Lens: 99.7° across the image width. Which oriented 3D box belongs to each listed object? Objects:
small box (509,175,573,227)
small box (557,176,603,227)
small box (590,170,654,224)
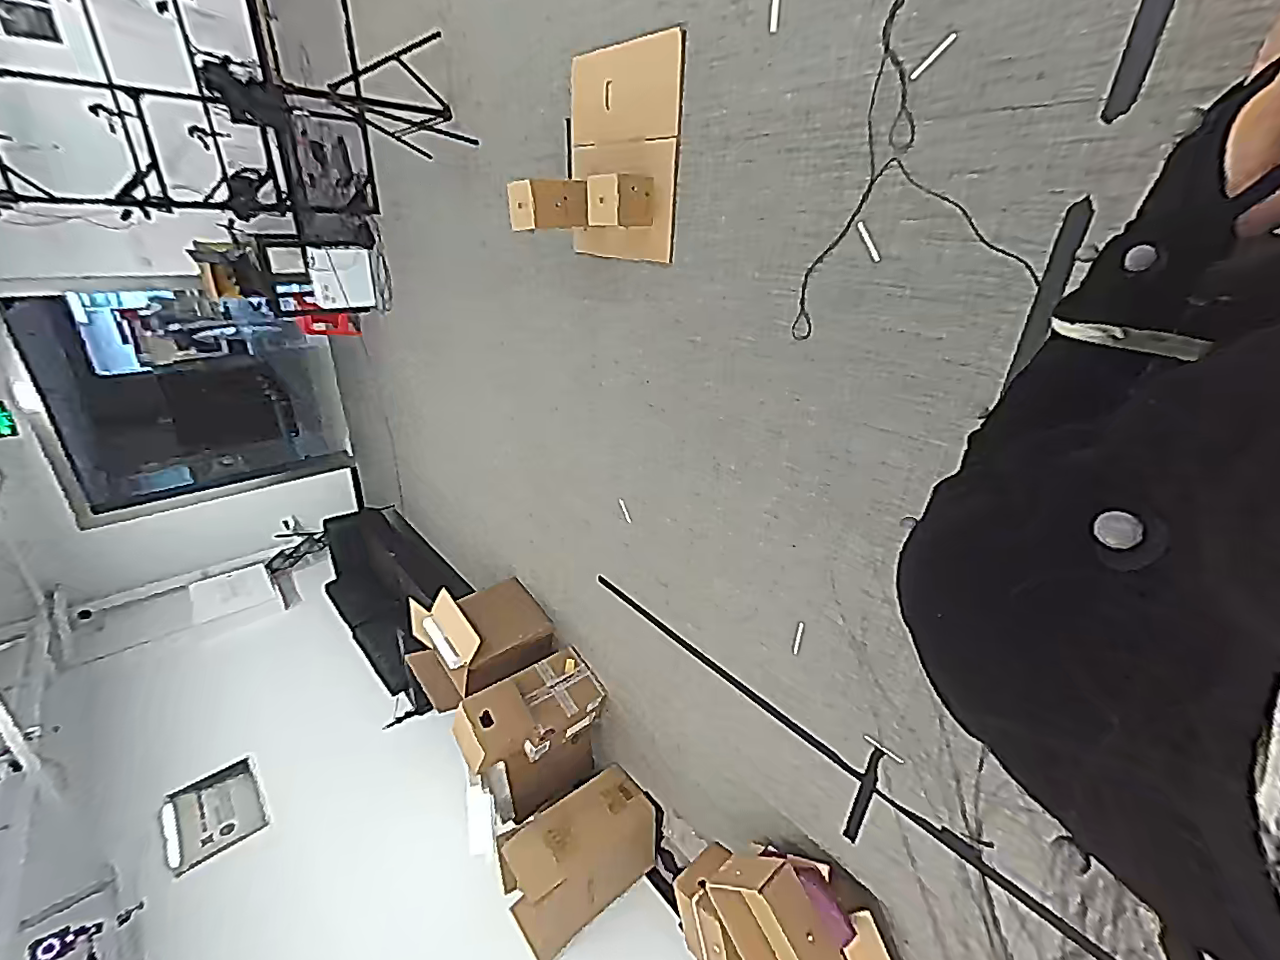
[{"bbox_3d":[-0.376,-1.061,2.066,0.179,0.176,0.168,22,123,45],"label":"small box"},{"bbox_3d":[-0.251,-1.109,2.162,0.179,0.176,0.168,20,121,45],"label":"small box"},{"bbox_3d":[-0.064,-1.027,1.966,0.179,0.176,0.168,26,125,44],"label":"small box"}]
